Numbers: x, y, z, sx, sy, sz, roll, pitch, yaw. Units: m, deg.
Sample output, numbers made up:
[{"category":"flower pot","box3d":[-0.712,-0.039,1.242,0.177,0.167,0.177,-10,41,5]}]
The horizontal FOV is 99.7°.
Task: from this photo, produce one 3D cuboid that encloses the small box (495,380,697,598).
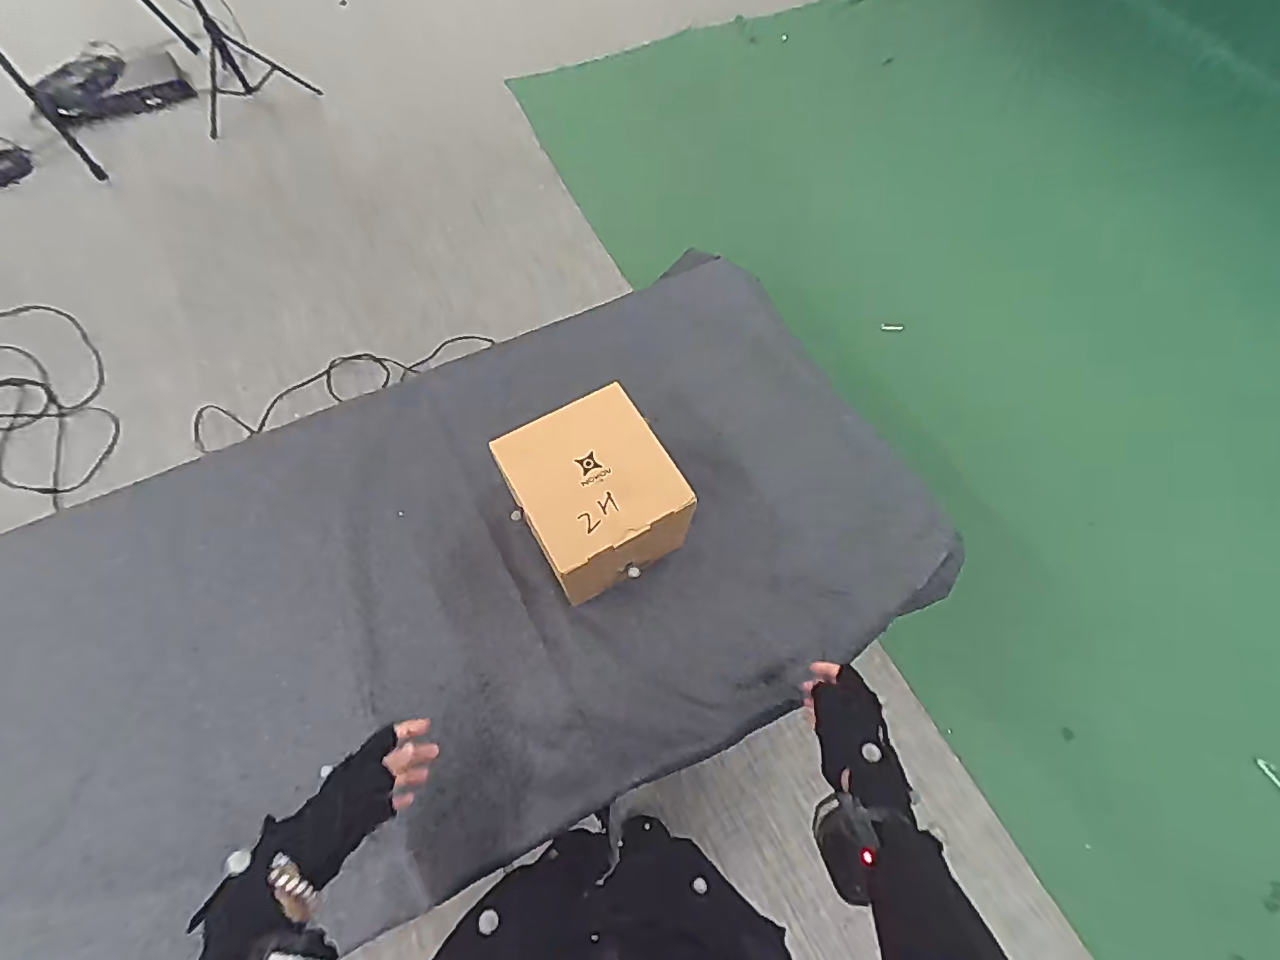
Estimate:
[{"category":"small box","box3d":[-0.053,0.018,0.657,0.168,0.176,0.179,-28,69,-13]}]
